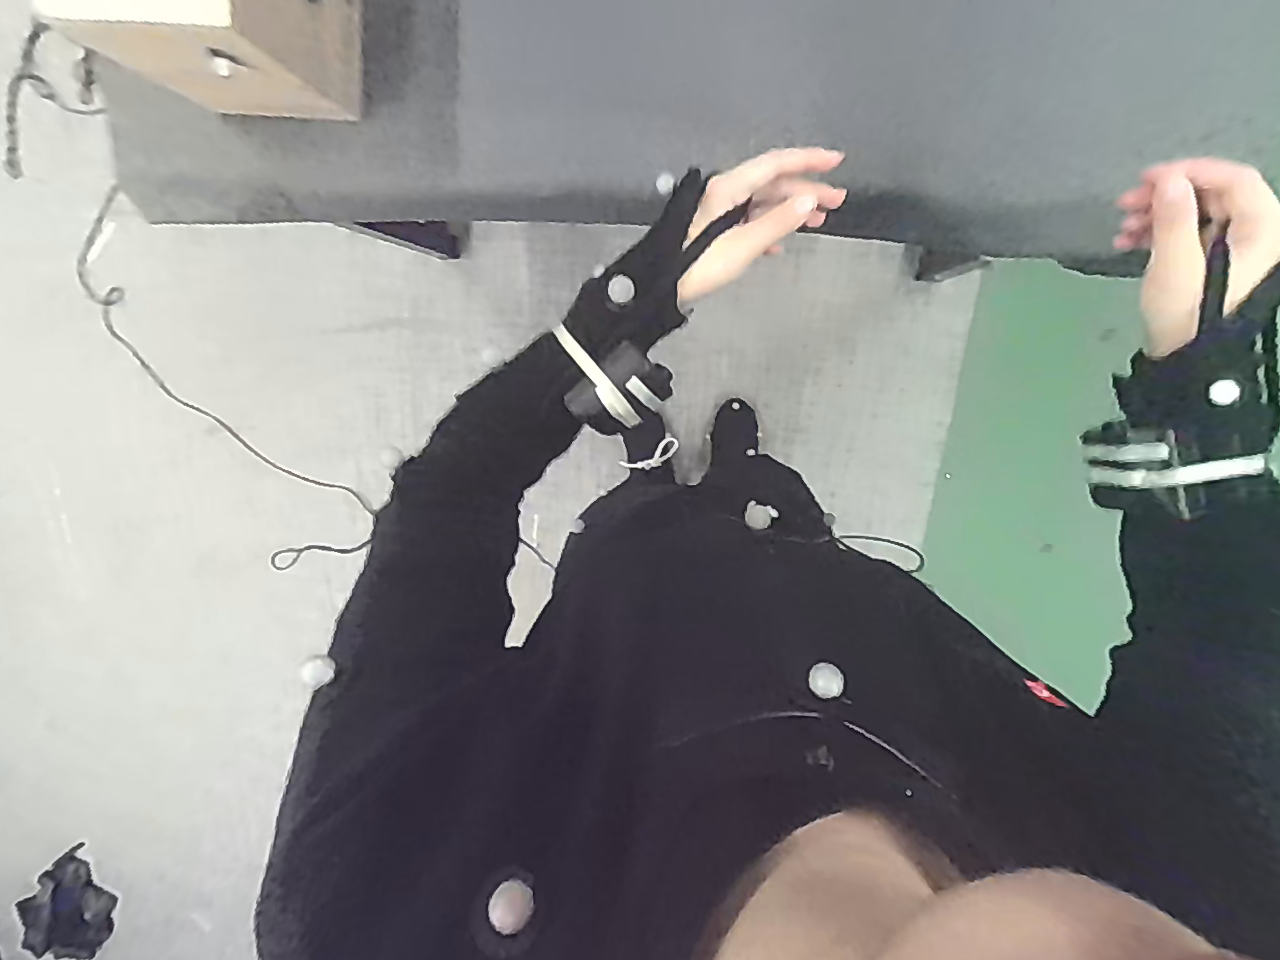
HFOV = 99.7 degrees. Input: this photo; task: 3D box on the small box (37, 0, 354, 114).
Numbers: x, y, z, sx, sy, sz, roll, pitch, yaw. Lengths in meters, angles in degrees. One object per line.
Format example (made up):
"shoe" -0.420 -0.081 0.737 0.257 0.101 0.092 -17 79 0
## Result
"small box" -0.384 -0.461 0.490 0.179 0.176 0.168 7 102 6
